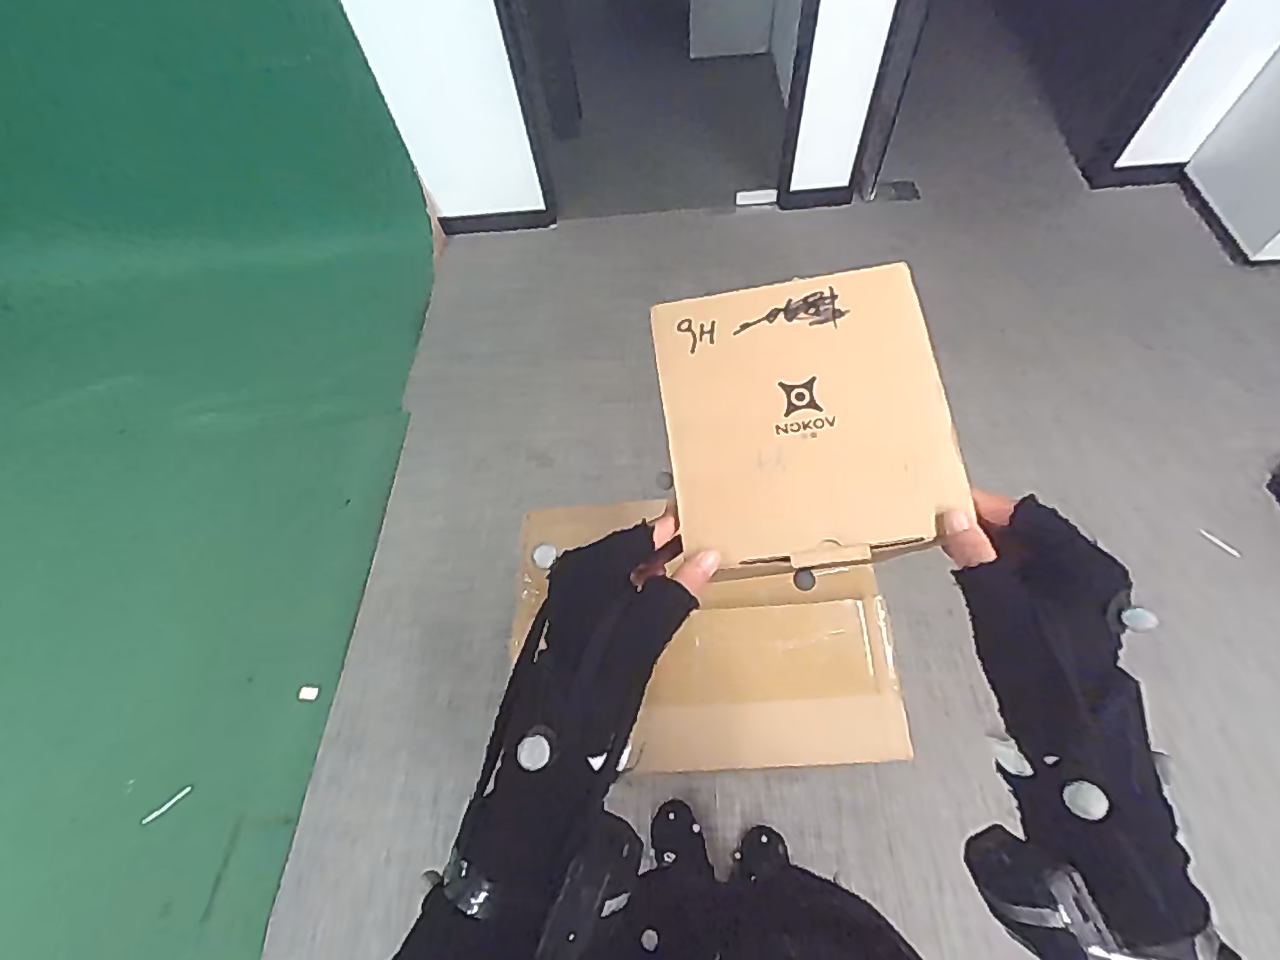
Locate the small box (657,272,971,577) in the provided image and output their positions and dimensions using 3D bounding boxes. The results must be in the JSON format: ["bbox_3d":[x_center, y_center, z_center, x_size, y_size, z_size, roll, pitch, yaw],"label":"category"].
[{"bbox_3d":[0.110,-0.023,0.411,0.168,0.176,0.179,-8,77,4],"label":"small box"}]
